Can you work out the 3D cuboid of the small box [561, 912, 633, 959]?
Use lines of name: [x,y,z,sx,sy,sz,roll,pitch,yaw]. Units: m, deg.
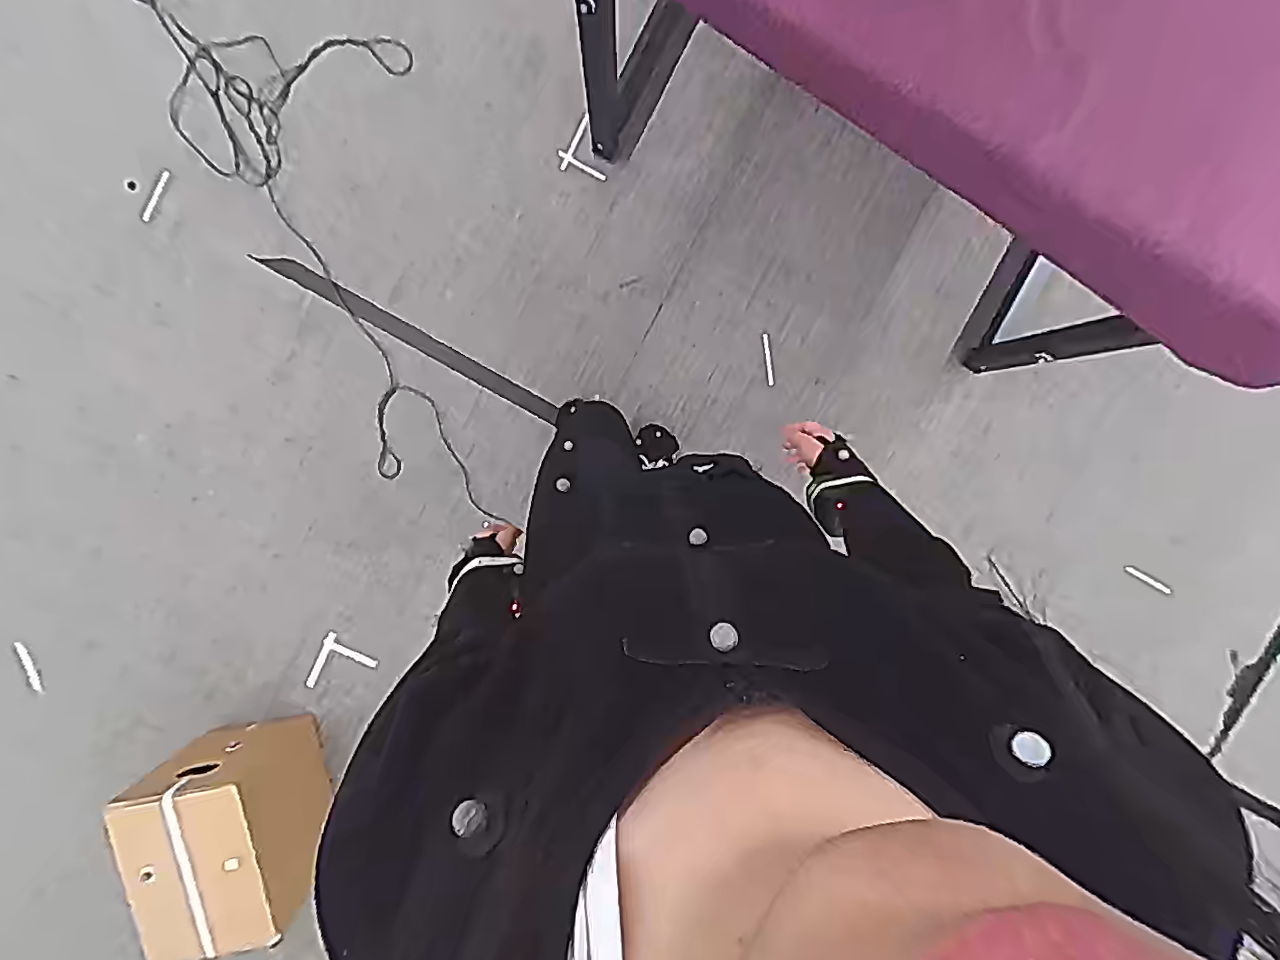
small box: [-0.115,1.366,1.505,0.168,0.176,0.179,-15,96,0]
